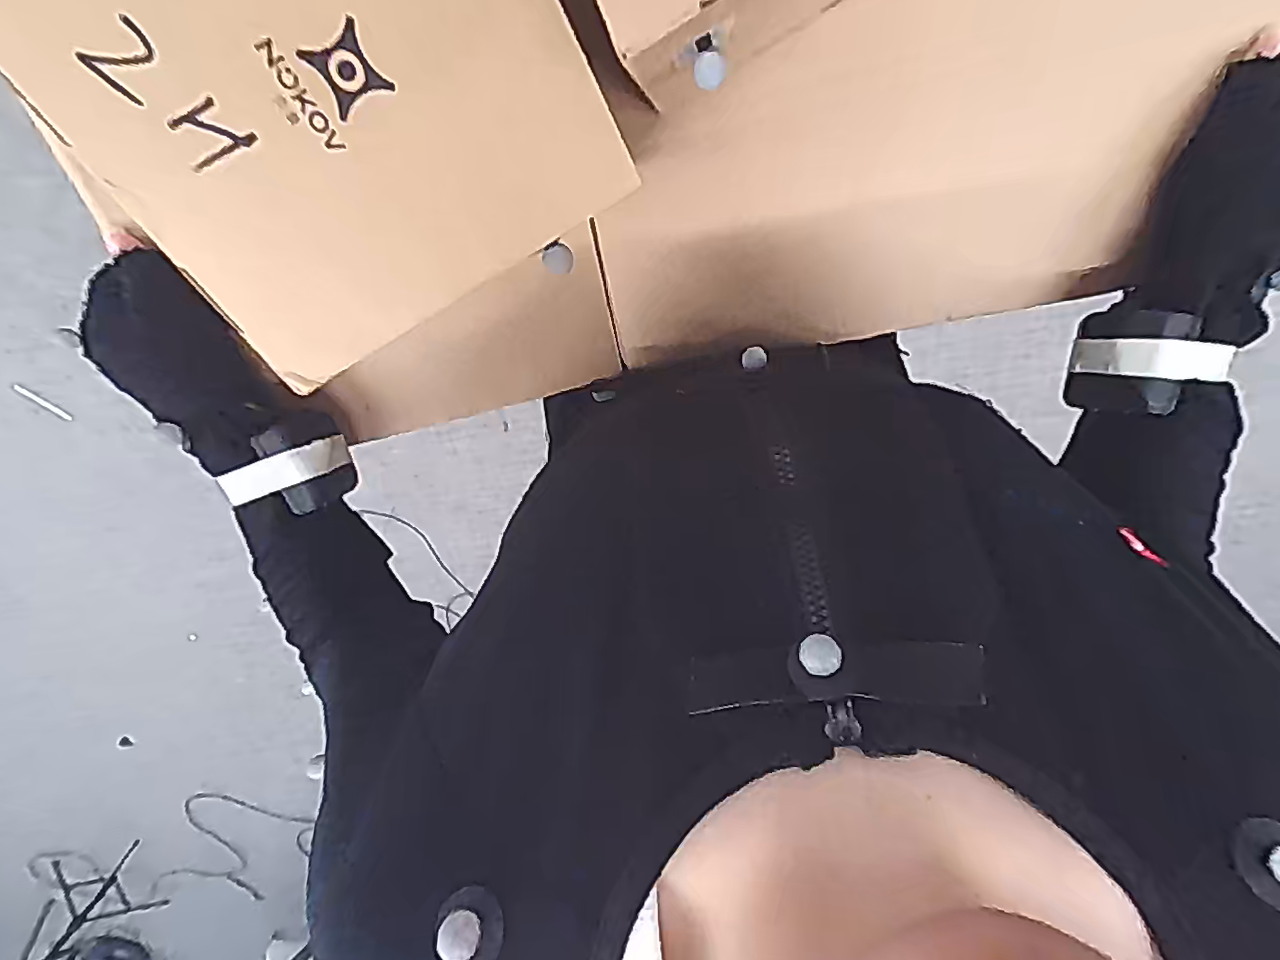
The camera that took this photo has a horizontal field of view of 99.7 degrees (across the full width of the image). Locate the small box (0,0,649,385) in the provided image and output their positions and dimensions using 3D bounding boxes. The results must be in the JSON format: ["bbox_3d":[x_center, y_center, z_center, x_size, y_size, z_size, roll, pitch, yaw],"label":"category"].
[{"bbox_3d":[-0.122,-0.177,0.260,0.179,0.176,0.168,-30,118,3],"label":"small box"}]
